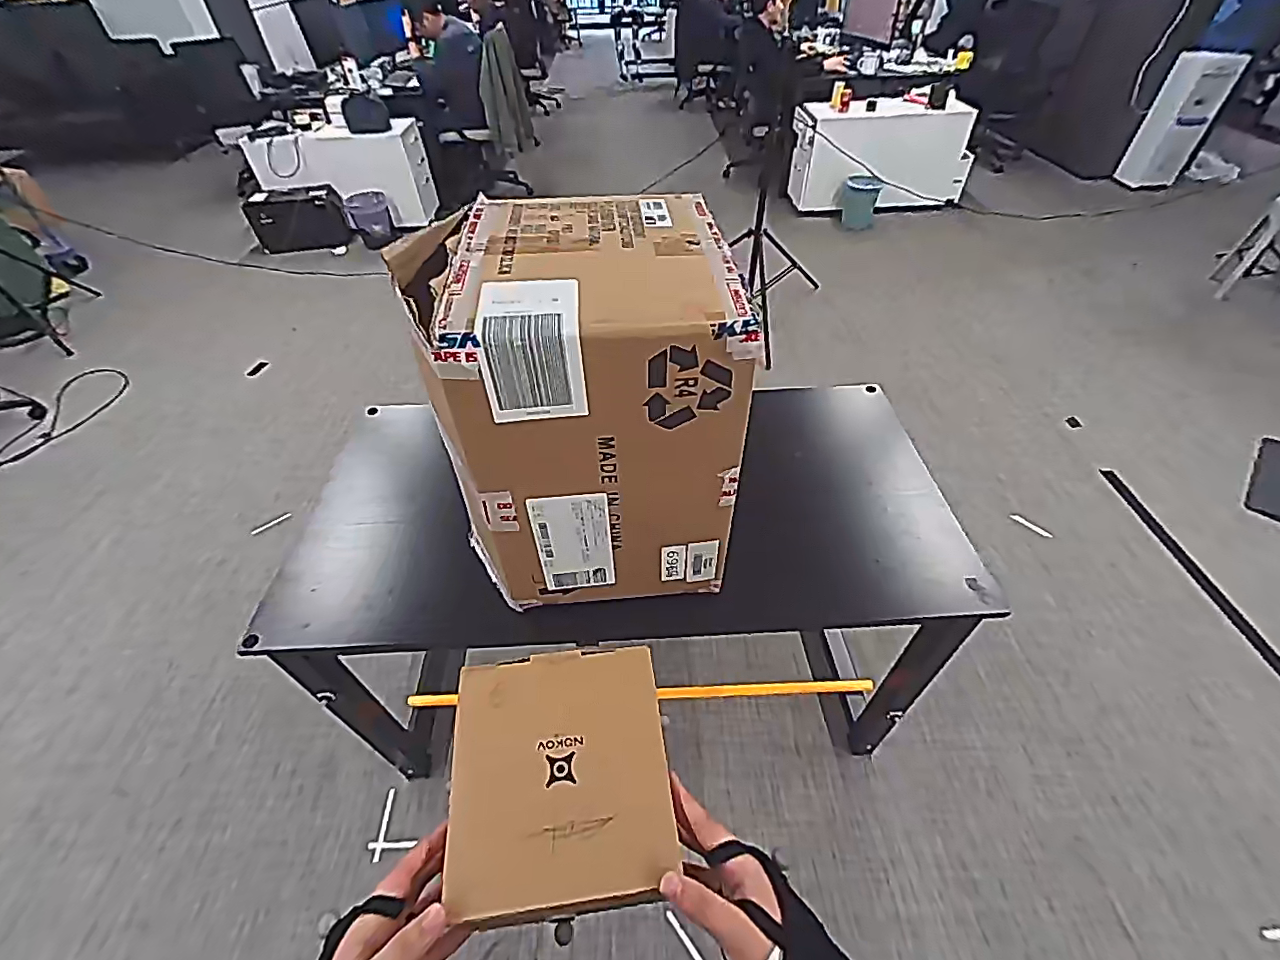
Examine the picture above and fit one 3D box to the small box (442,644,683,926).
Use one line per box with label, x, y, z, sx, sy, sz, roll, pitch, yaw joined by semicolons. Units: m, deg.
small box;-0.063;0.269;0.479;0.168;0.176;0.179;-5;50;-6
